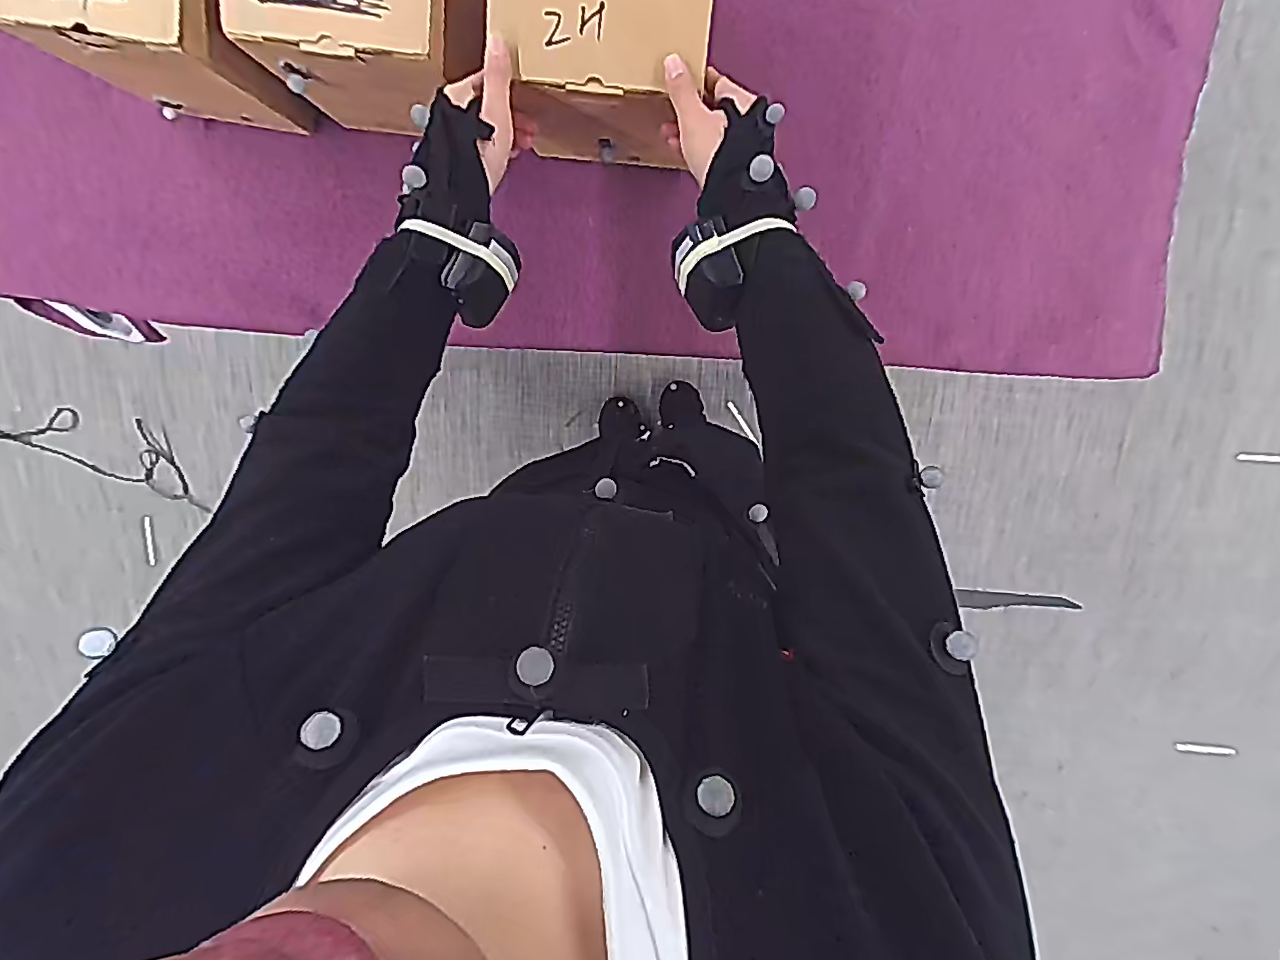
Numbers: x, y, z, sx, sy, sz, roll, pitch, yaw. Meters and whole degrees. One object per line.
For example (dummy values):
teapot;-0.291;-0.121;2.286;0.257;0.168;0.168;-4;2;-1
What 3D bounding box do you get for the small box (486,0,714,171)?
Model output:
small box;-0.022;-0.394;0.463;0.168;0.176;0.179;6;104;2
